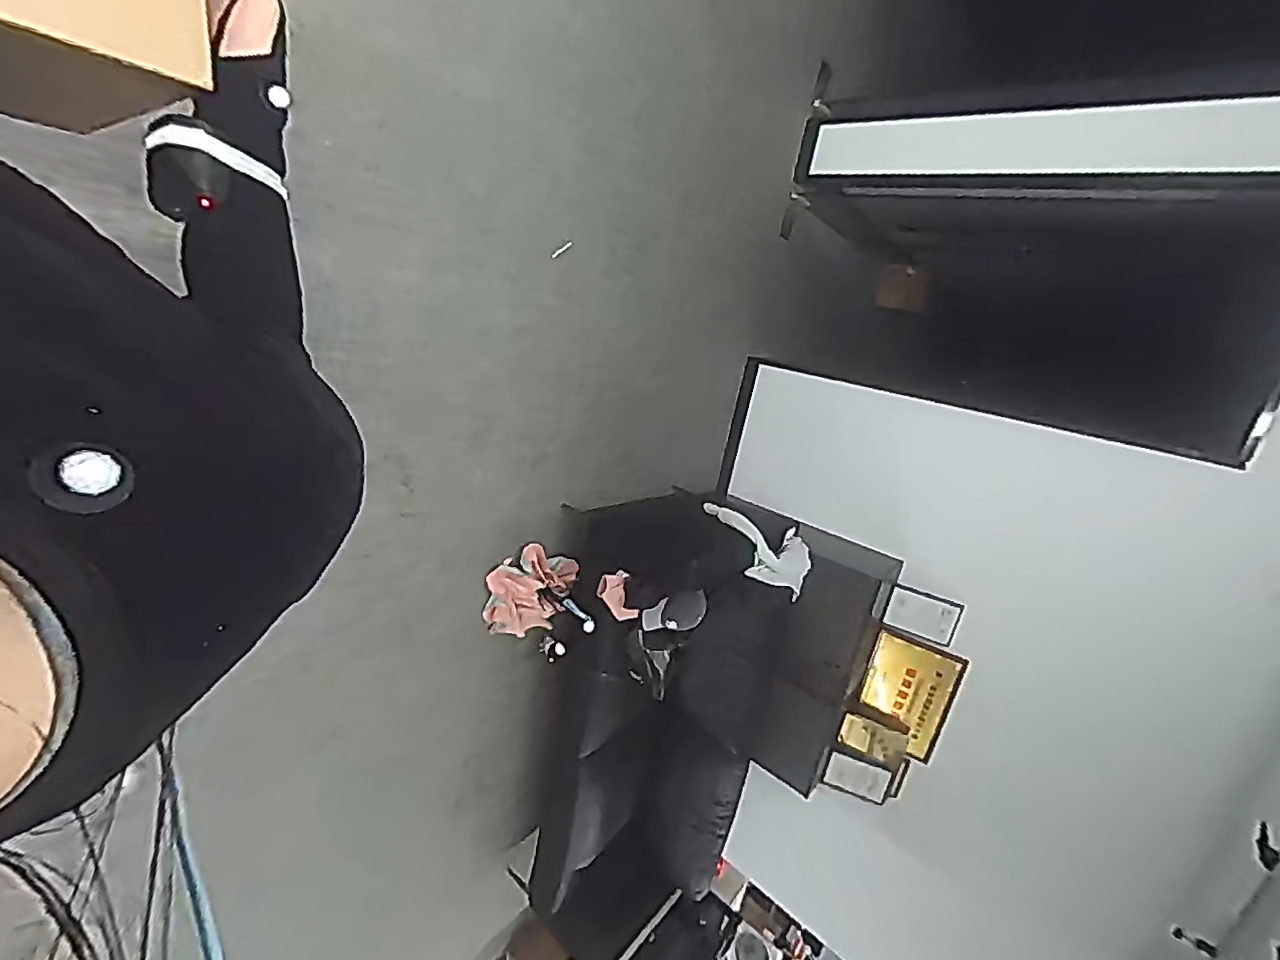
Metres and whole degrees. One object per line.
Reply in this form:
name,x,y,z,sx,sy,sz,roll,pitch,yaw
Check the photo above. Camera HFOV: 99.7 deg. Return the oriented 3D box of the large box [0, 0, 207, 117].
large box,-0.555,-0.447,0.294,0.408,0.320,0.320,-19,118,-54
